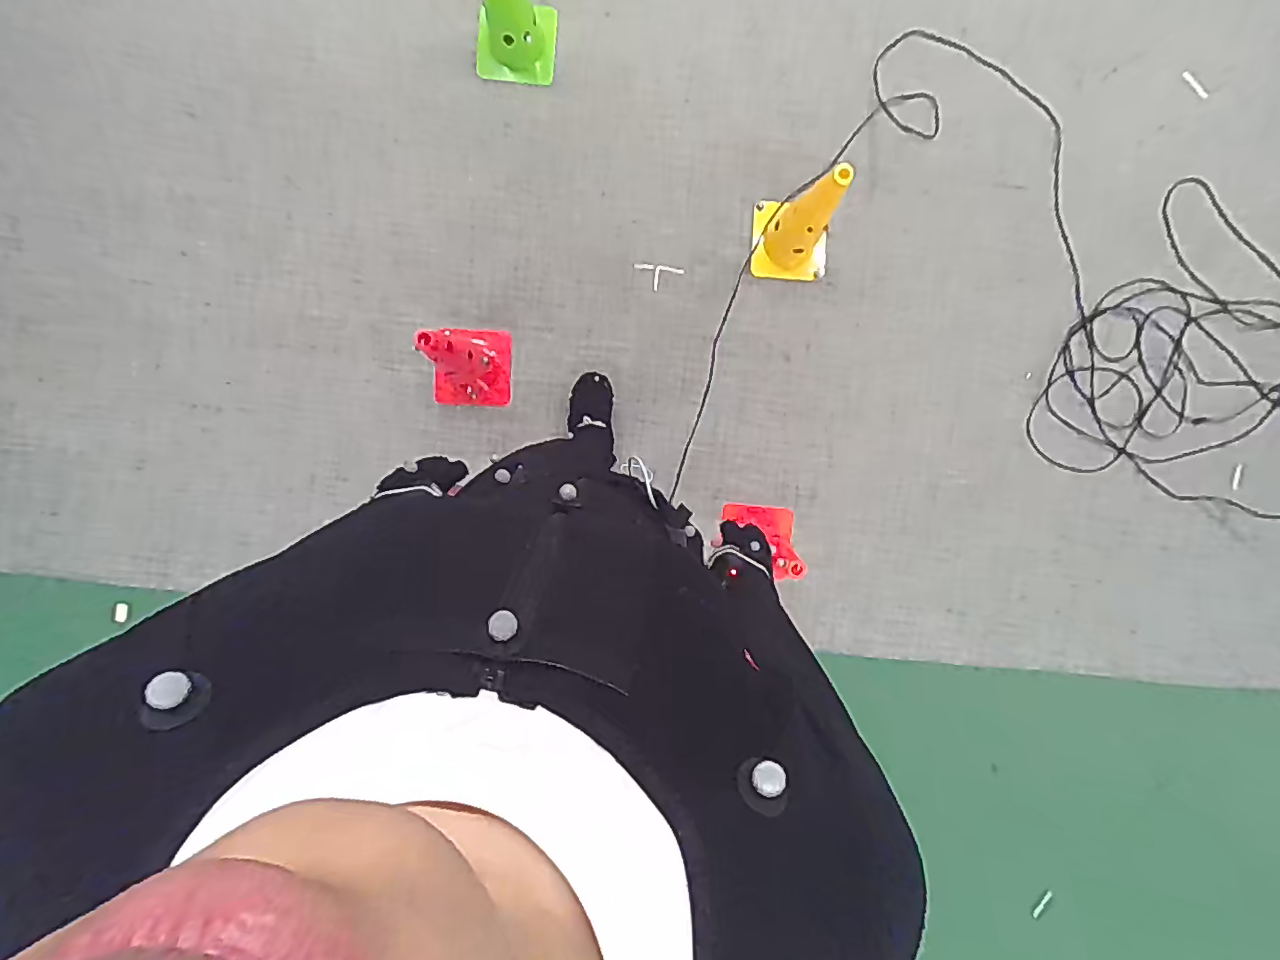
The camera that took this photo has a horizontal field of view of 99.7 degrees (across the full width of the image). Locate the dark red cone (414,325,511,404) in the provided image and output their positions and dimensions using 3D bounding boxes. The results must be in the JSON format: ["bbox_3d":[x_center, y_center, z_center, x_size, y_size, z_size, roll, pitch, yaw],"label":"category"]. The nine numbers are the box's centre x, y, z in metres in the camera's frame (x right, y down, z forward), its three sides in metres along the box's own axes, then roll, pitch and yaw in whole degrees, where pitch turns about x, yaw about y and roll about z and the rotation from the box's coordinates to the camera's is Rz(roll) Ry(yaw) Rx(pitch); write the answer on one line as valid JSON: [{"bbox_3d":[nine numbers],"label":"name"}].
[{"bbox_3d":[-0.431,-0.288,1.242,0.202,0.394,0.201,1,94,-2],"label":"dark red cone"}]

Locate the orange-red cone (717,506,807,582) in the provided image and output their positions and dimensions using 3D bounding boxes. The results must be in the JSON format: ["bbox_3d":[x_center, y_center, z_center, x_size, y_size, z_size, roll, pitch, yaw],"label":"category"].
[{"bbox_3d":[0.325,0.182,1.316,0.198,0.360,0.199,7,92,-3],"label":"orange-red cone"}]

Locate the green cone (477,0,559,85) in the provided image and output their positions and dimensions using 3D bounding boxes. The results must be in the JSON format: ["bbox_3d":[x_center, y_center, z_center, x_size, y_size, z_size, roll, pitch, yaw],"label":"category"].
[{"bbox_3d":[-0.305,-1.126,1.231,0.202,0.368,0.200,5,93,-4],"label":"green cone"}]
